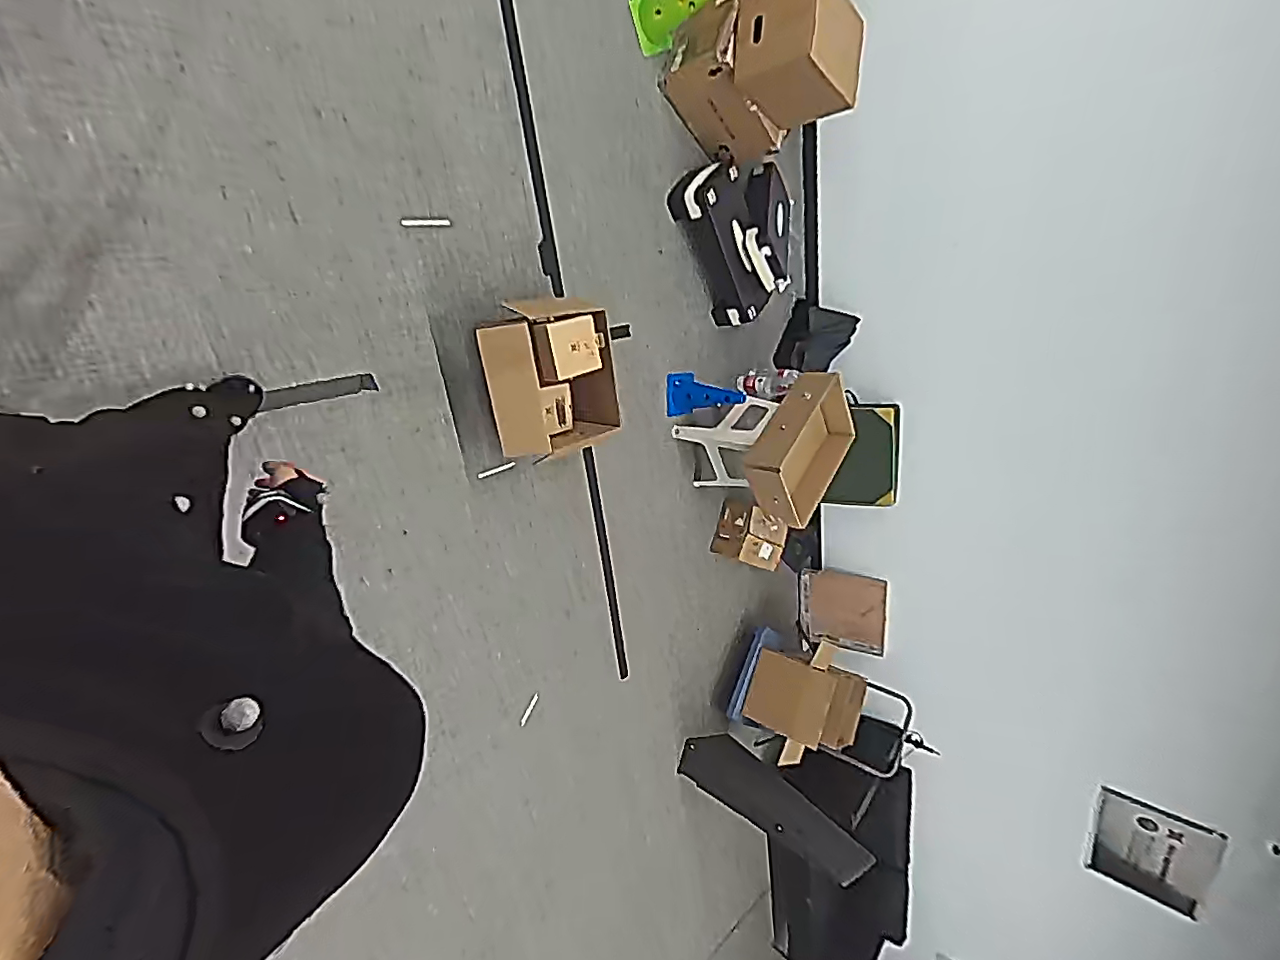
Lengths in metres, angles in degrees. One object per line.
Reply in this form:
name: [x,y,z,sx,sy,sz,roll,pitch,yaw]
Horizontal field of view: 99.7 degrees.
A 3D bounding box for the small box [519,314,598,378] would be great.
small box: [-0.259,-0.419,1.686,0.179,0.176,0.168,-27,119,-40]
